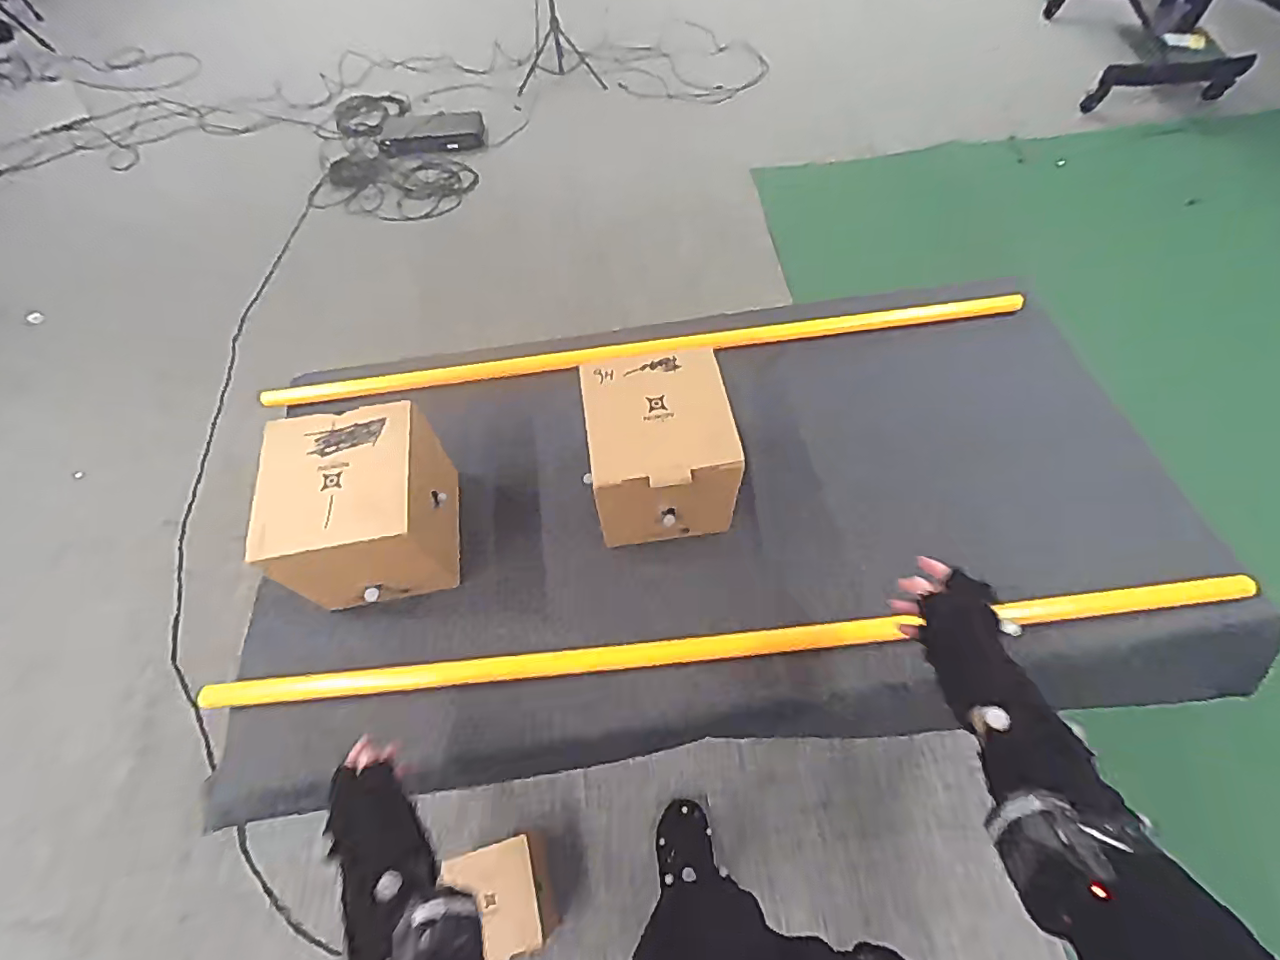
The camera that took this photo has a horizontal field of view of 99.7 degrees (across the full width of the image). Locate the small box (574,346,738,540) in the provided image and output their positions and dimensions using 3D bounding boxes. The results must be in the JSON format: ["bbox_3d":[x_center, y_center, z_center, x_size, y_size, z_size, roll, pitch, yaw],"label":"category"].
[{"bbox_3d":[0.020,-0.037,0.687,0.168,0.176,0.179,-12,59,-2],"label":"small box"}]

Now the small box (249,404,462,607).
[{"bbox_3d":[-0.325,0.035,0.658,0.168,0.176,0.179,-10,60,-3],"label":"small box"}]
